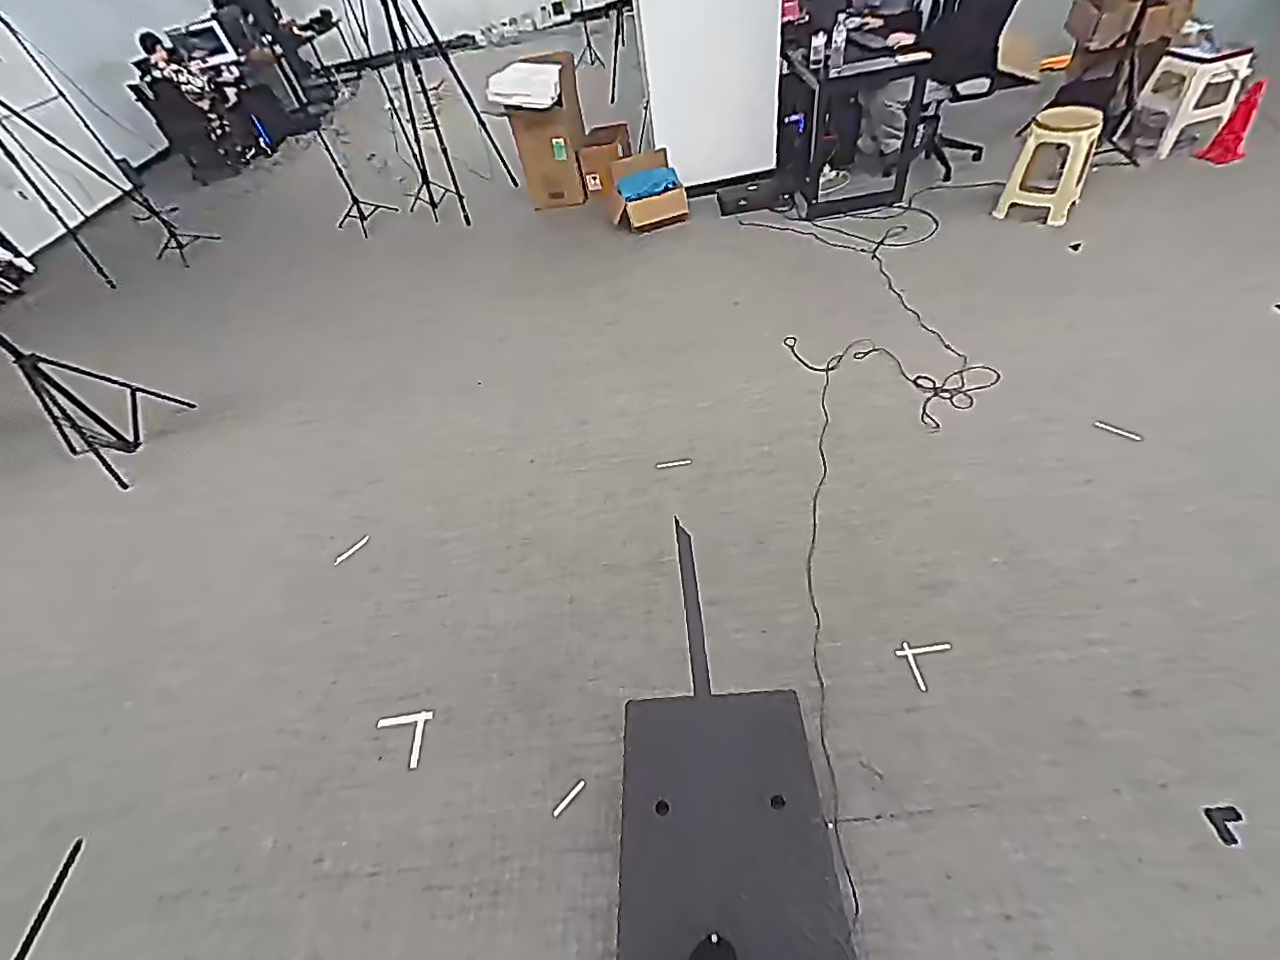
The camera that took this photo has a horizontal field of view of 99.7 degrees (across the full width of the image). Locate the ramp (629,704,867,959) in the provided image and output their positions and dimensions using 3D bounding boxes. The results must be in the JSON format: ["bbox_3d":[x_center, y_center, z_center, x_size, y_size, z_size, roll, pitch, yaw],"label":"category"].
[{"bbox_3d":[0.215,0.966,1.152,0.509,0.206,0.991,-10,46,5],"label":"ramp"}]
